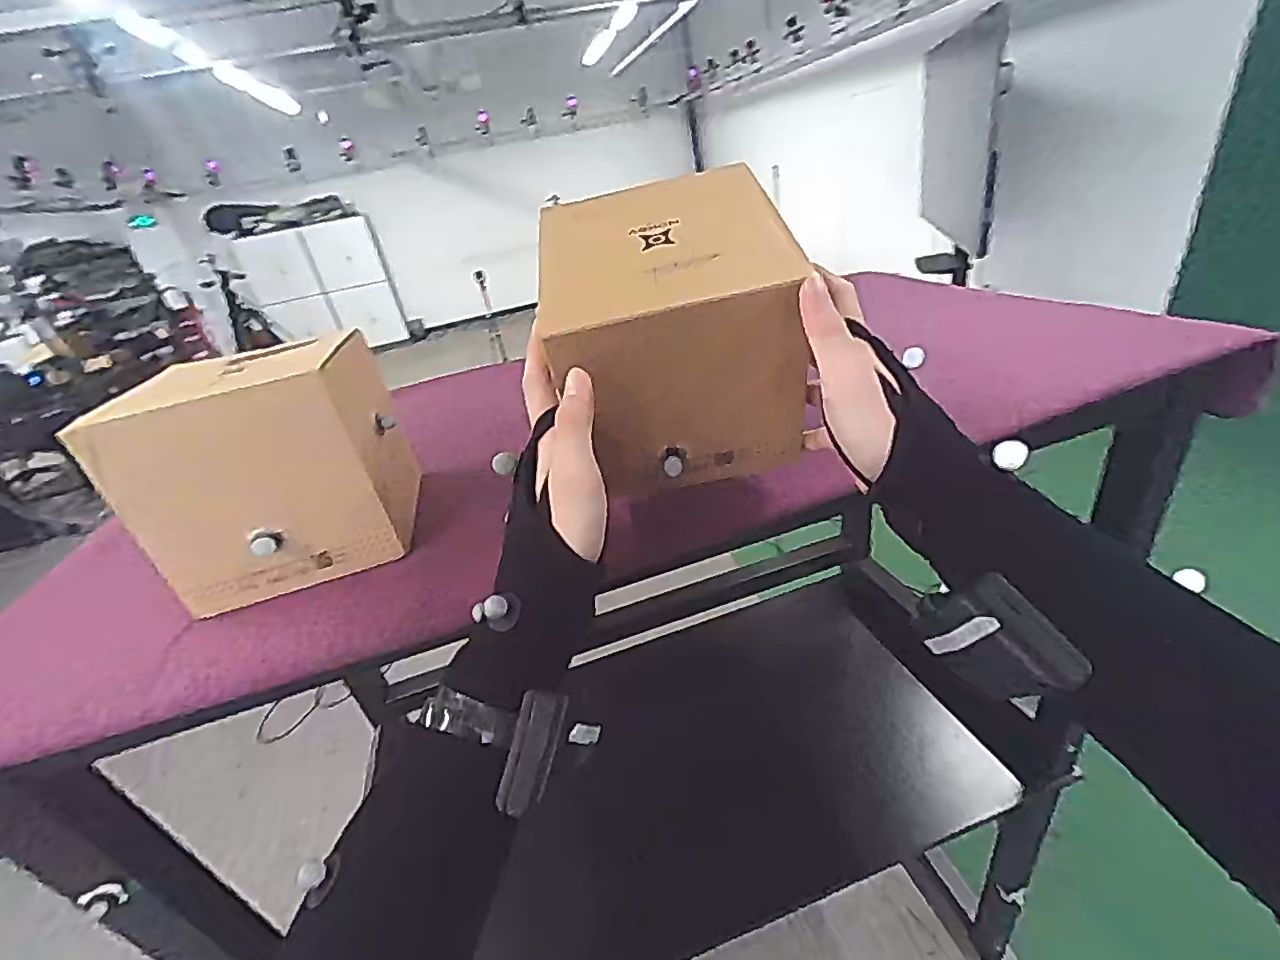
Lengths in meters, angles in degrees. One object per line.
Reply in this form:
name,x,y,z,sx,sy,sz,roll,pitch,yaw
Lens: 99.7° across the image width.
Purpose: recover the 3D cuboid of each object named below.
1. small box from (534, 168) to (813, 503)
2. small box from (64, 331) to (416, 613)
small box,0.024,-0.107,0.424,0.168,0.176,0.179,-11,51,4
small box,-0.311,-0.016,0.475,0.168,0.176,0.179,-17,30,-10
